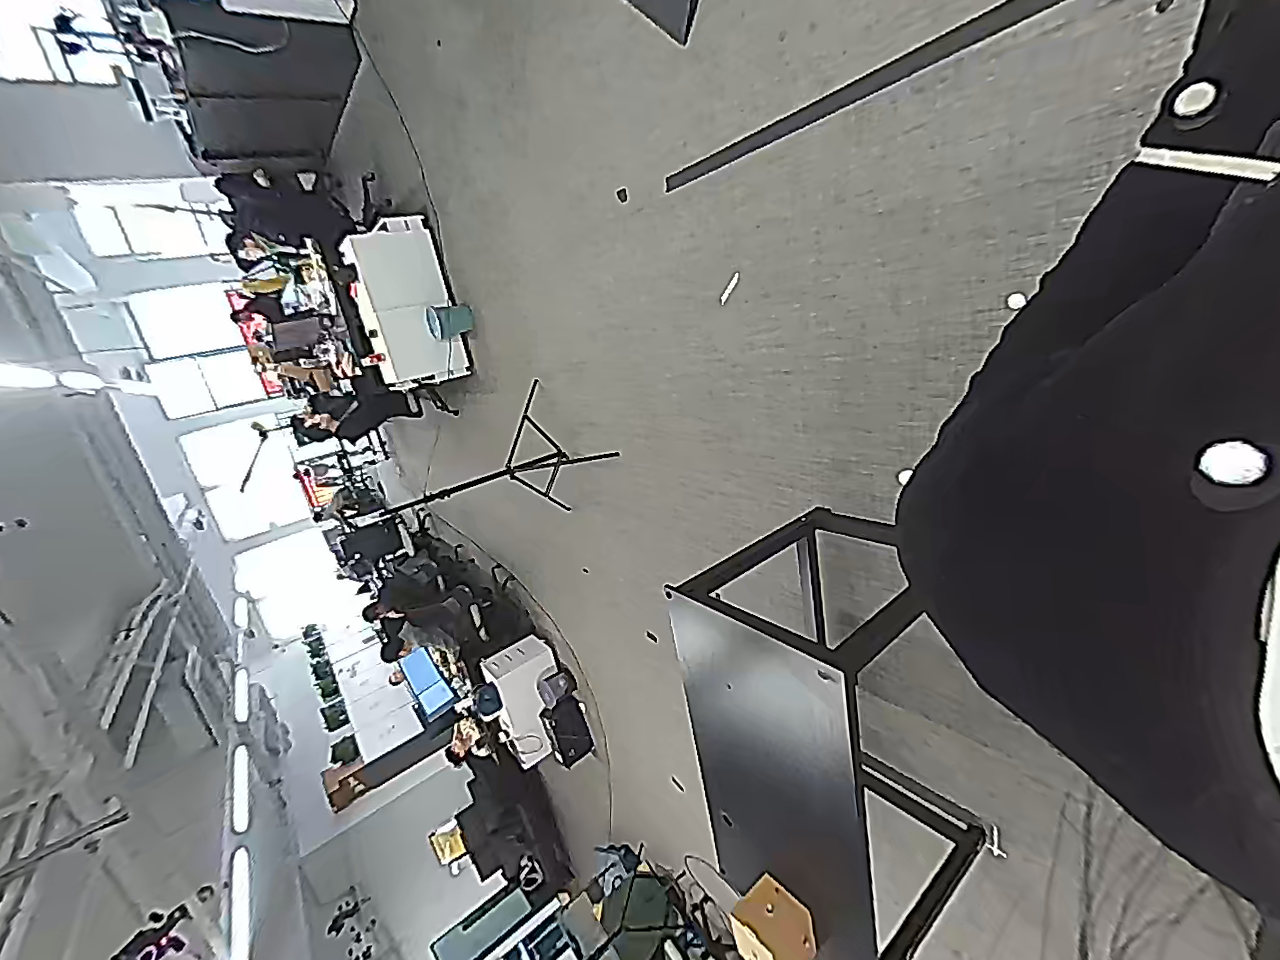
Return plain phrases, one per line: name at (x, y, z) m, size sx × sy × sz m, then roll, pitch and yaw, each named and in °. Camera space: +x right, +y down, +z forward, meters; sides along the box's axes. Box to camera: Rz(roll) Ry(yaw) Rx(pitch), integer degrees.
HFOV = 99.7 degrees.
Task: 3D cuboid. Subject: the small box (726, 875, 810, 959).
small box at (0.383, 1.336, 1.601) m, size 0.168 × 0.176 × 0.179 m, roll 10°, pitch 116°, yaw 54°
